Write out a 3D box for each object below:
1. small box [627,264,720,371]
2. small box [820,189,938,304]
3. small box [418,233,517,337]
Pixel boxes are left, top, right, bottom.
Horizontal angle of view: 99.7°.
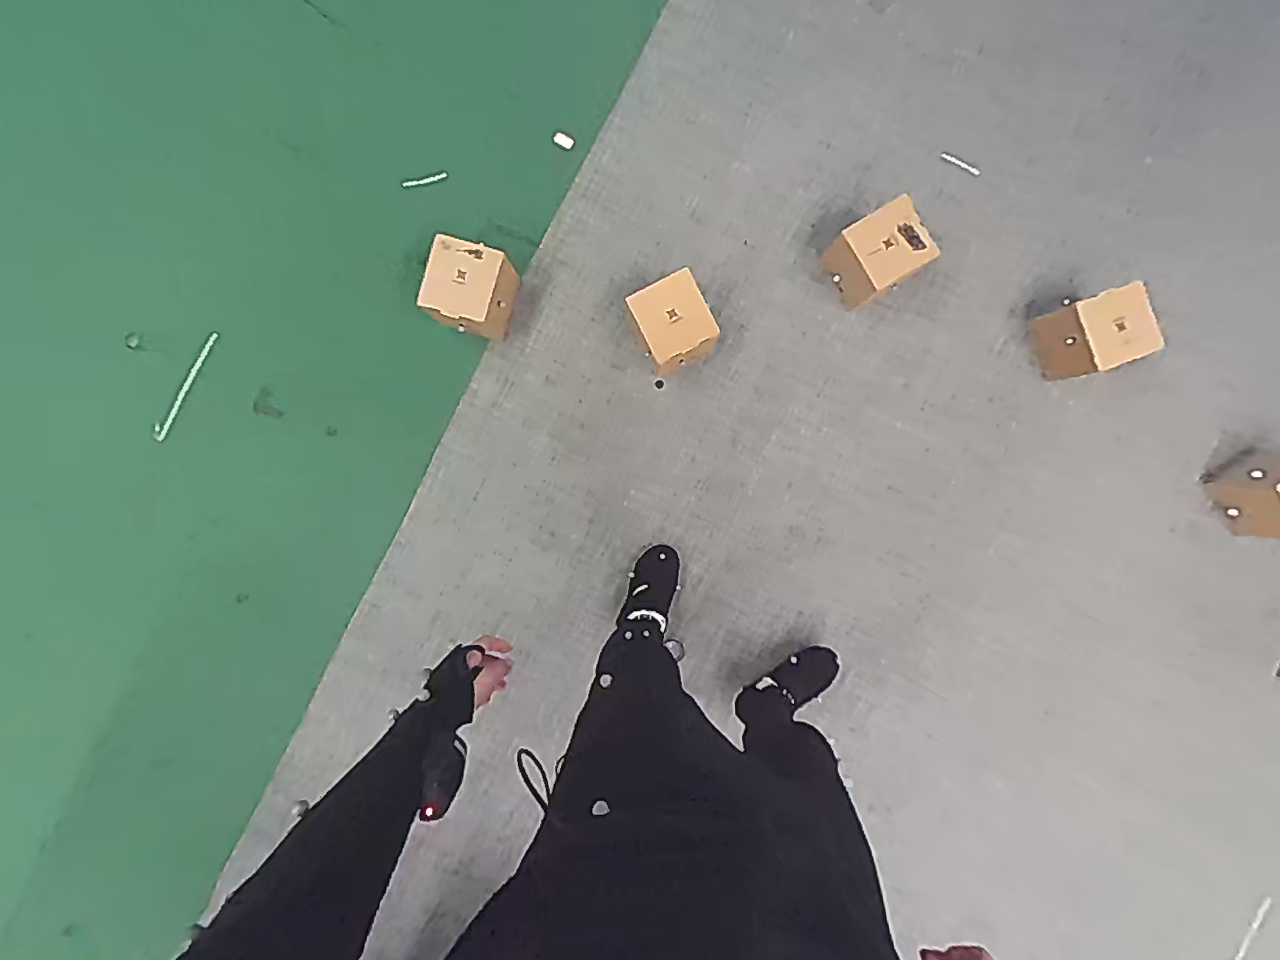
[{"bbox_3d":[0.075,-0.392,1.334,0.168,0.176,0.179,-28,92,0],"label":"small box"},{"bbox_3d":[0.579,-0.565,1.332,0.179,0.176,0.168,-31,90,1],"label":"small box"},{"bbox_3d":[-0.415,-0.469,1.330,0.168,0.176,0.179,16,91,0],"label":"small box"}]
